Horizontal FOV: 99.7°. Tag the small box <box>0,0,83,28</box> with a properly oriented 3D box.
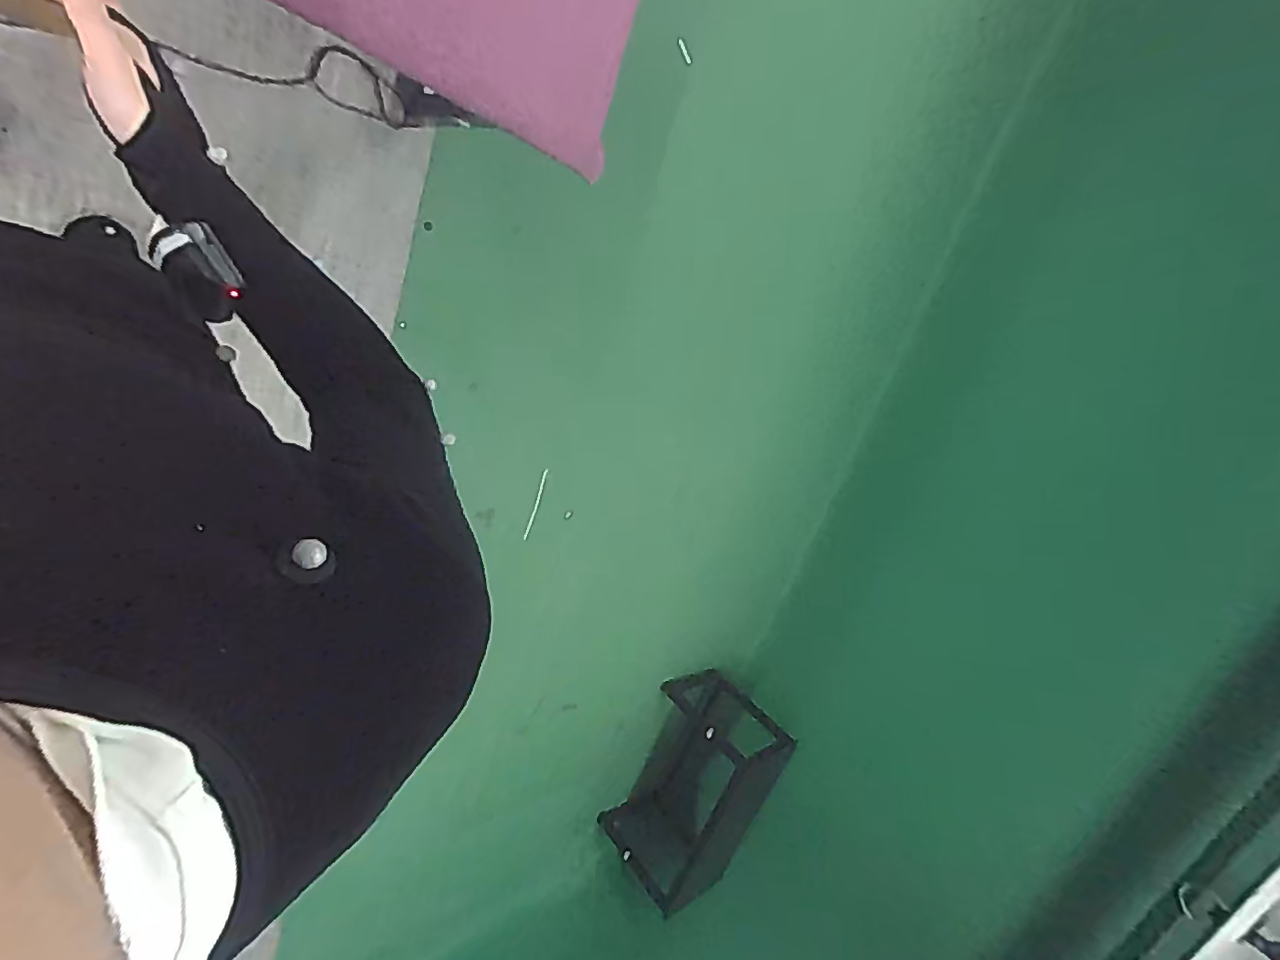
[{"bbox_3d":[-0.467,-0.432,0.336,0.168,0.176,0.179,-1,114,-46],"label":"small box"}]
